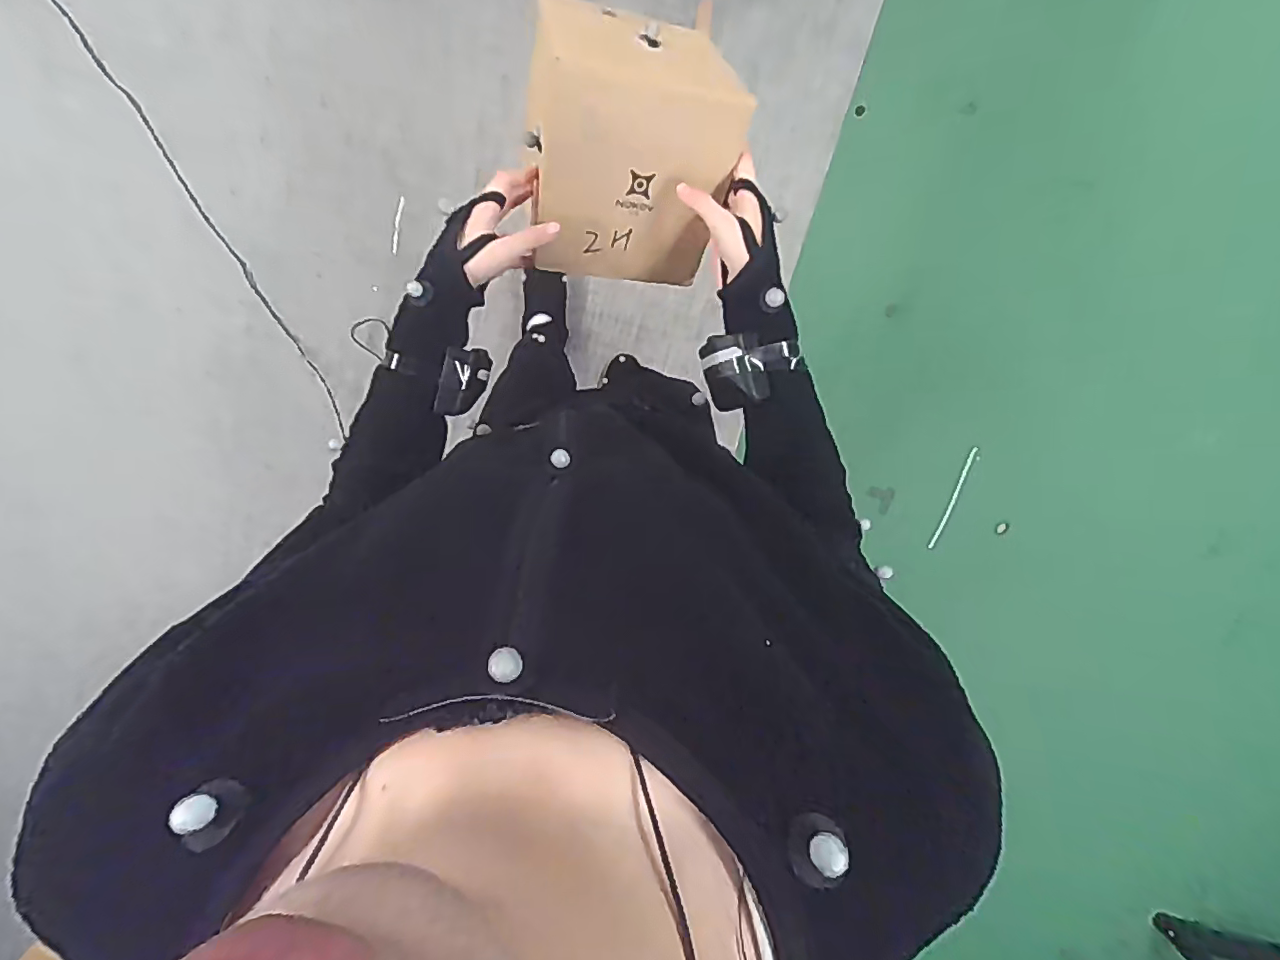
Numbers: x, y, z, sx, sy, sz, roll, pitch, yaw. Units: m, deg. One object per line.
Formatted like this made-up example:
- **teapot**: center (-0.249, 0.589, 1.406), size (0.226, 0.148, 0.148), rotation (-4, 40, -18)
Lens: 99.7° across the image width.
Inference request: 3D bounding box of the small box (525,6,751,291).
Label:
- **small box**: center (-0.020, -0.315, 0.525), size (0.168, 0.176, 0.179), rotation (1, 143, -17)
